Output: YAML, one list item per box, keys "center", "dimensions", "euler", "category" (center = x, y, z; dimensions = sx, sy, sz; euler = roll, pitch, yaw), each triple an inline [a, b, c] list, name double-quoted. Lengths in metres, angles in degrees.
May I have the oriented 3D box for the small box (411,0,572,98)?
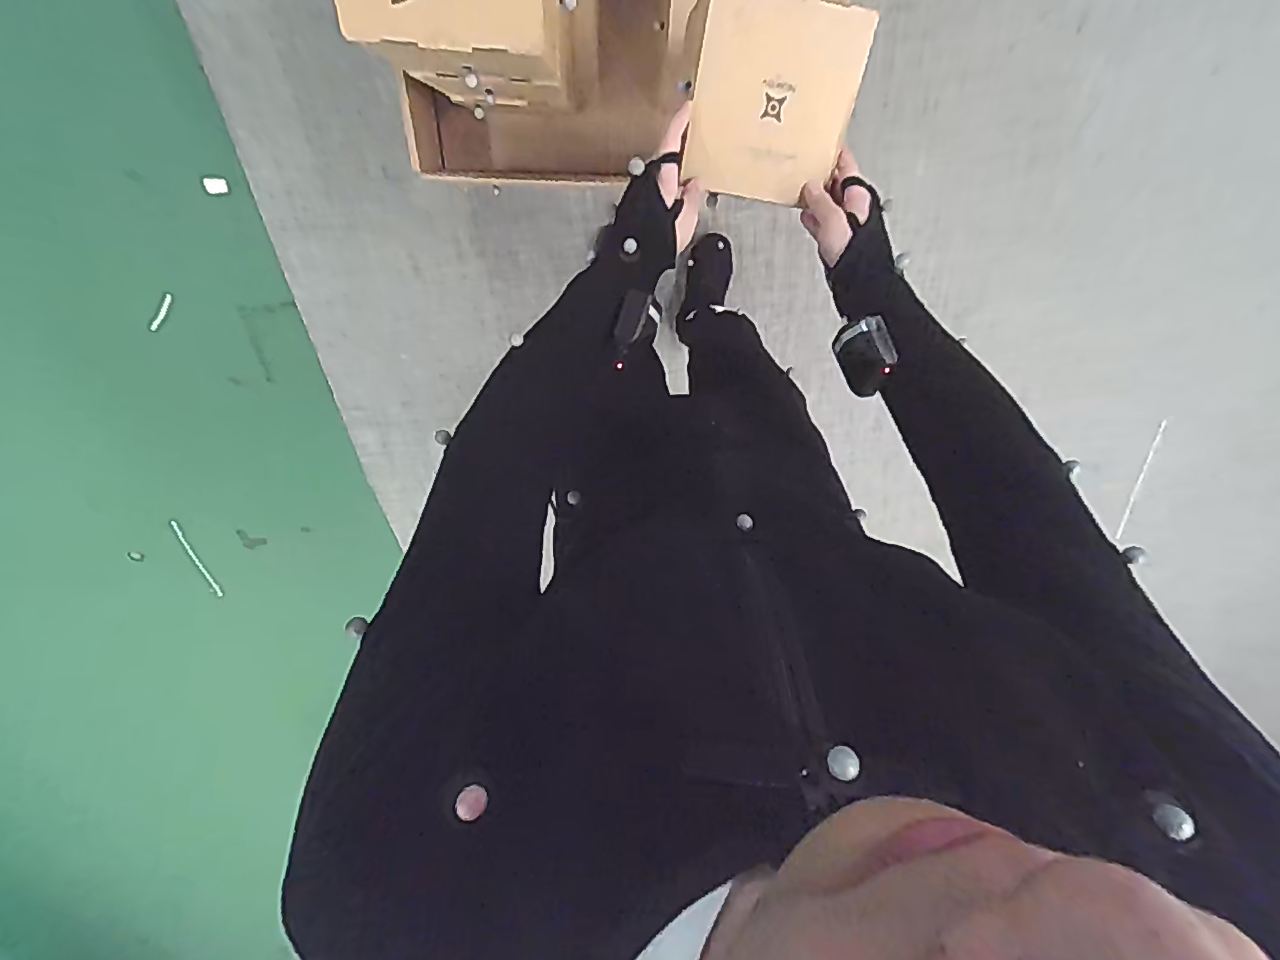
- center: [-0.166, -0.556, 0.616]
  dimensions: [0.168, 0.176, 0.179]
  euler: [0, 121, -4]
  category: "small box"

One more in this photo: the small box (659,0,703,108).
- center: [0.119, -0.636, 0.774]
  dimensions: [0.168, 0.176, 0.179]
  euler: [1, 120, -4]
  category: "small box"

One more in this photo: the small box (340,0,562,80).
- center: [-0.157, -0.476, 0.472]
  dimensions: [0.168, 0.176, 0.179]
  euler: [2, 120, -4]
  category: "small box"

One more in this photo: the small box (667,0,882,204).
- center: [0.131, -0.424, 0.608]
  dimensions: [0.168, 0.176, 0.179]
  euler: [6, 119, -8]
  category: "small box"
